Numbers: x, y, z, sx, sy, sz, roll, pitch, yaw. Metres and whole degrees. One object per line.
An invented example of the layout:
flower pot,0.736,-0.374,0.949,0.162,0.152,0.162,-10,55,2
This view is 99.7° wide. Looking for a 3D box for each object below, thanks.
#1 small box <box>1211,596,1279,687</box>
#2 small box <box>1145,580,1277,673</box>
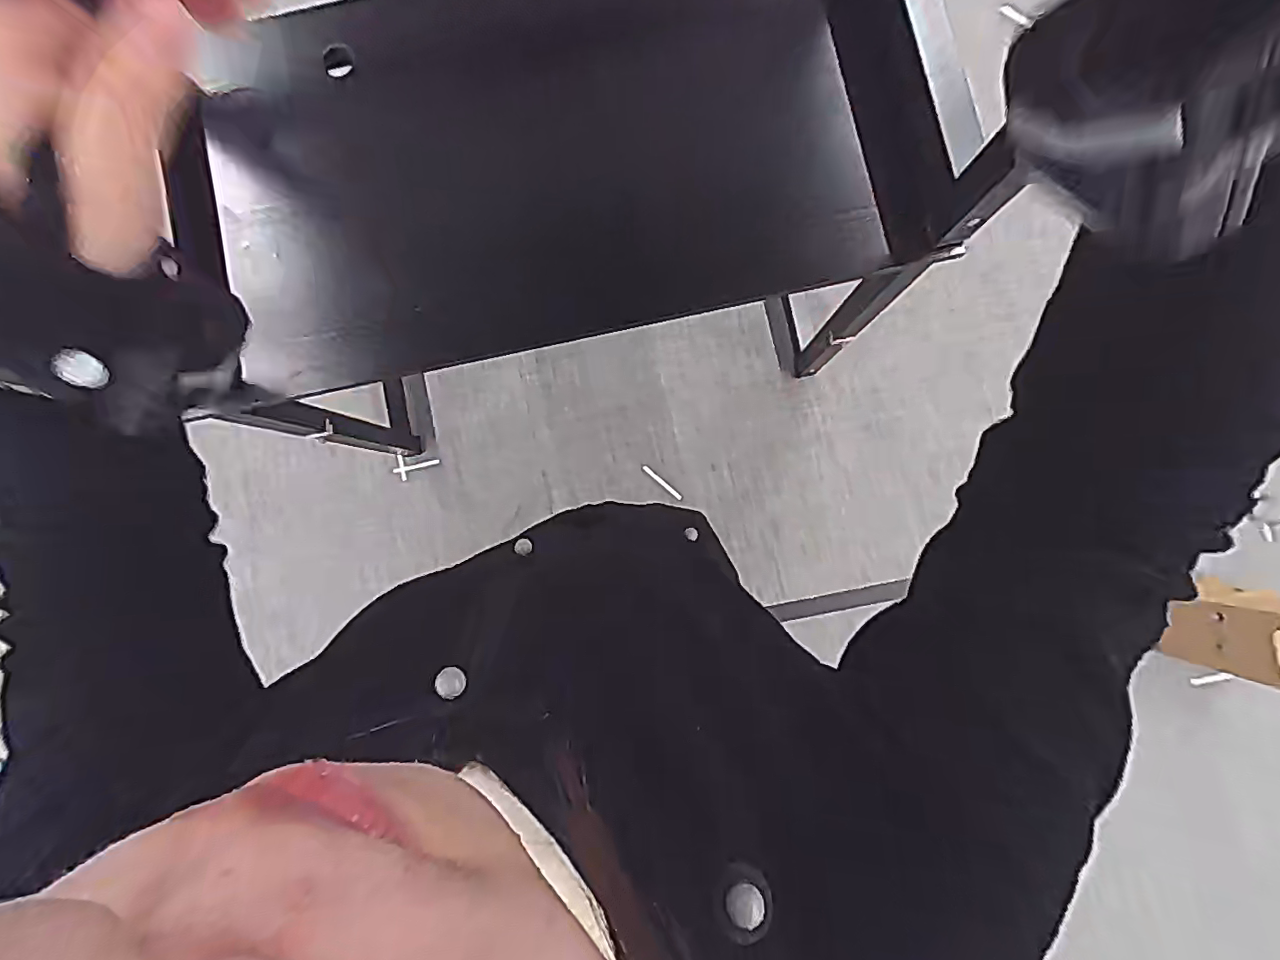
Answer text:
small box,1.418,0.355,1.185,0.179,0.176,0.168,-6,87,1
small box,1.428,0.359,1.350,0.168,0.176,0.179,-10,88,1
